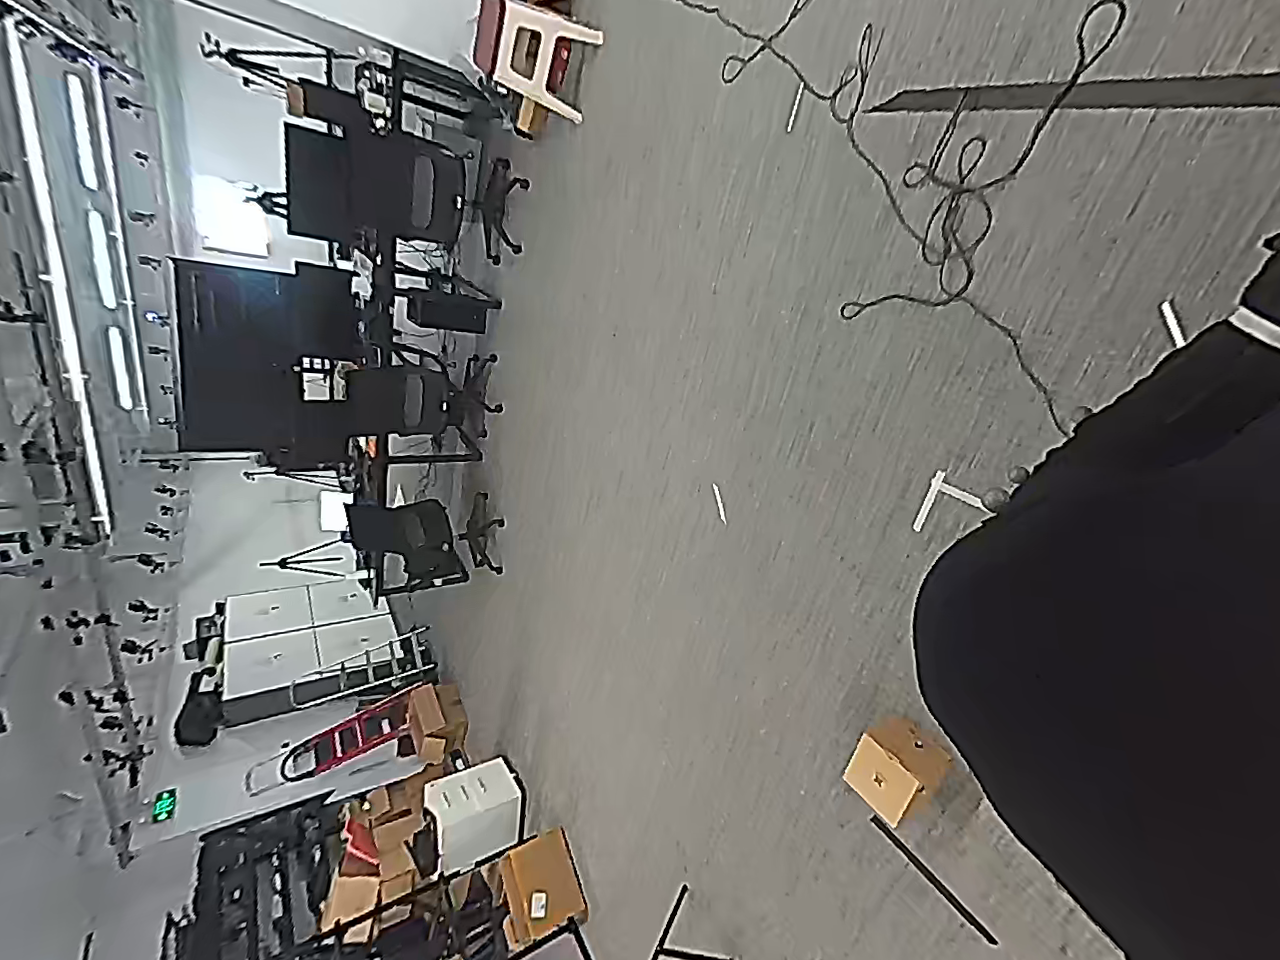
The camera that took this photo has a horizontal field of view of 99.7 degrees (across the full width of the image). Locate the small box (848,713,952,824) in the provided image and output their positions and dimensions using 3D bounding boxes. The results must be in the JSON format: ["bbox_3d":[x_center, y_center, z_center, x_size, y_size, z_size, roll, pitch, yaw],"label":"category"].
[{"bbox_3d":[0.700,0.767,1.453,0.168,0.176,0.179,37,122,47],"label":"small box"}]
